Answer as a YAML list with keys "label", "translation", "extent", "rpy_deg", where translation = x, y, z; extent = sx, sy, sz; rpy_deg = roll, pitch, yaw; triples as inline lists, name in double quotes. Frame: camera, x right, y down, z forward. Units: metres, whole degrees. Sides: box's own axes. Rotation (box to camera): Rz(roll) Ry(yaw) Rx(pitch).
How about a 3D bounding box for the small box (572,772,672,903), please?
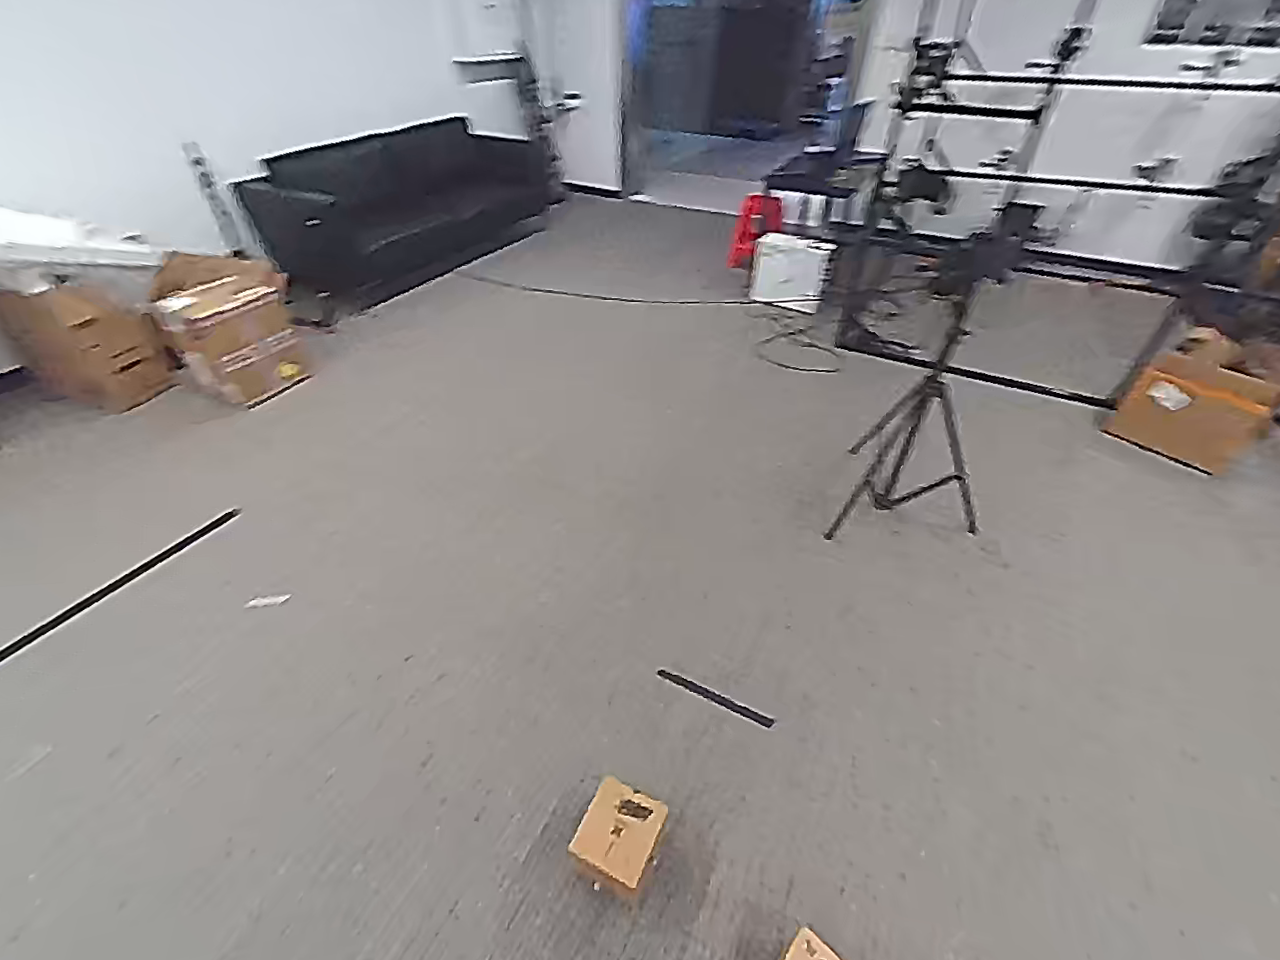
- label: "small box"
  translation: [-0.040, 0.827, 1.252]
  extent: [0.168, 0.176, 0.179]
  rpy_deg: [19, 45, 20]

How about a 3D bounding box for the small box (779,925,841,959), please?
- label: "small box"
  translation: [0.328, 1.018, 1.034]
  extent: [0.168, 0.176, 0.179]
  rpy_deg: [32, 50, 31]
